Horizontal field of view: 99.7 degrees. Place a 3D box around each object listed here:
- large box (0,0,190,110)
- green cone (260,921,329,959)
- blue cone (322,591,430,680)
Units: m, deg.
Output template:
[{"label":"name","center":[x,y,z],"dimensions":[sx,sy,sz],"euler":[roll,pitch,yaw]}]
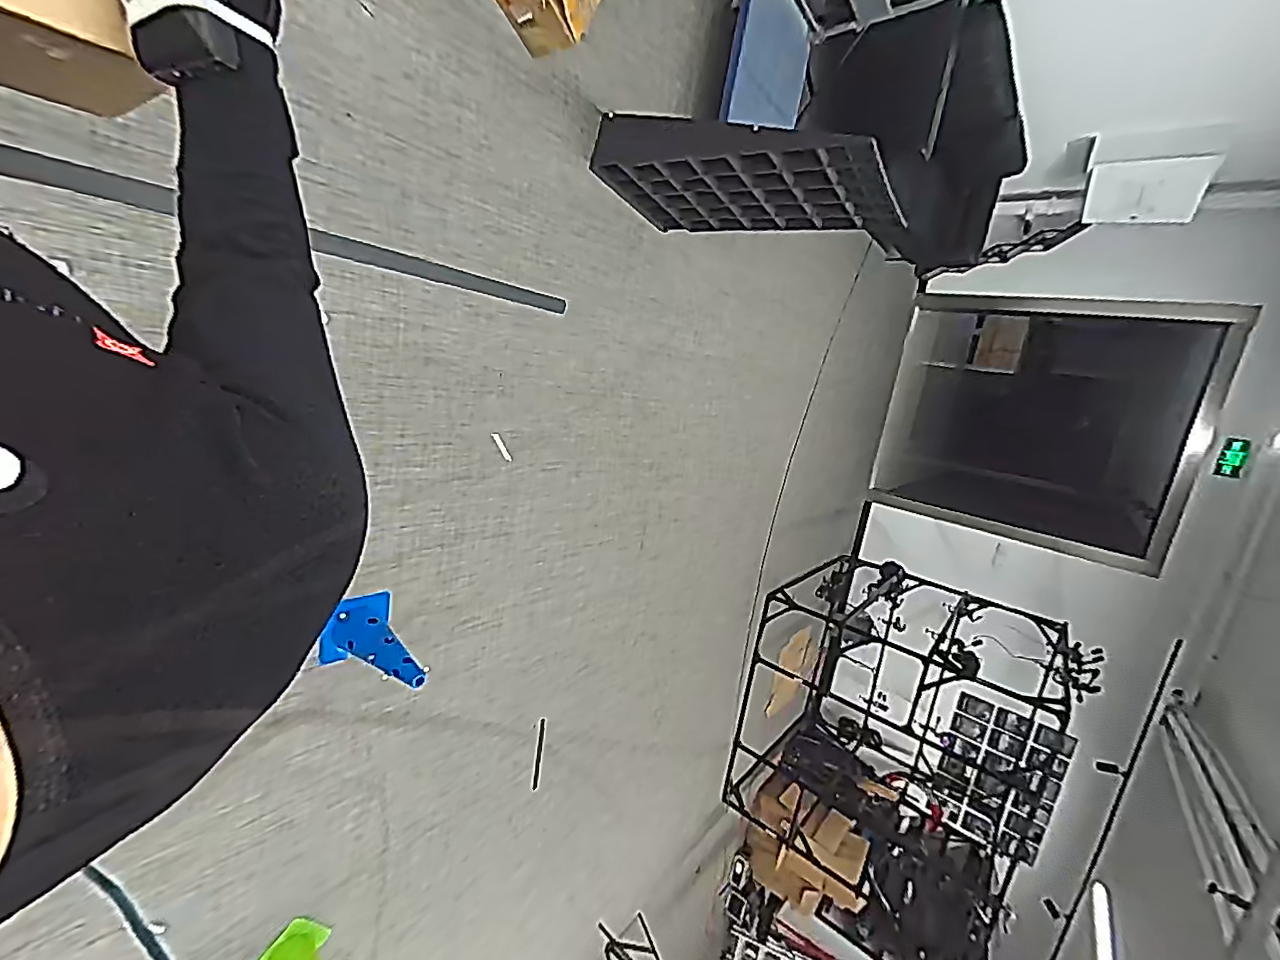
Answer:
[{"label":"large box","center":[-0.549,-0.470,0.295],"dimensions":[0.408,0.320,0.320],"euler":[-8,114,-52]},{"label":"green cone","center":[-0.998,1.577,1.638],"dimensions":[0.202,0.368,0.200],"euler":[-49,139,-32]},{"label":"blue cone","center":[-0.735,0.480,1.553],"dimensions":[0.192,0.380,0.193],"euler":[-1,105,-55]}]
